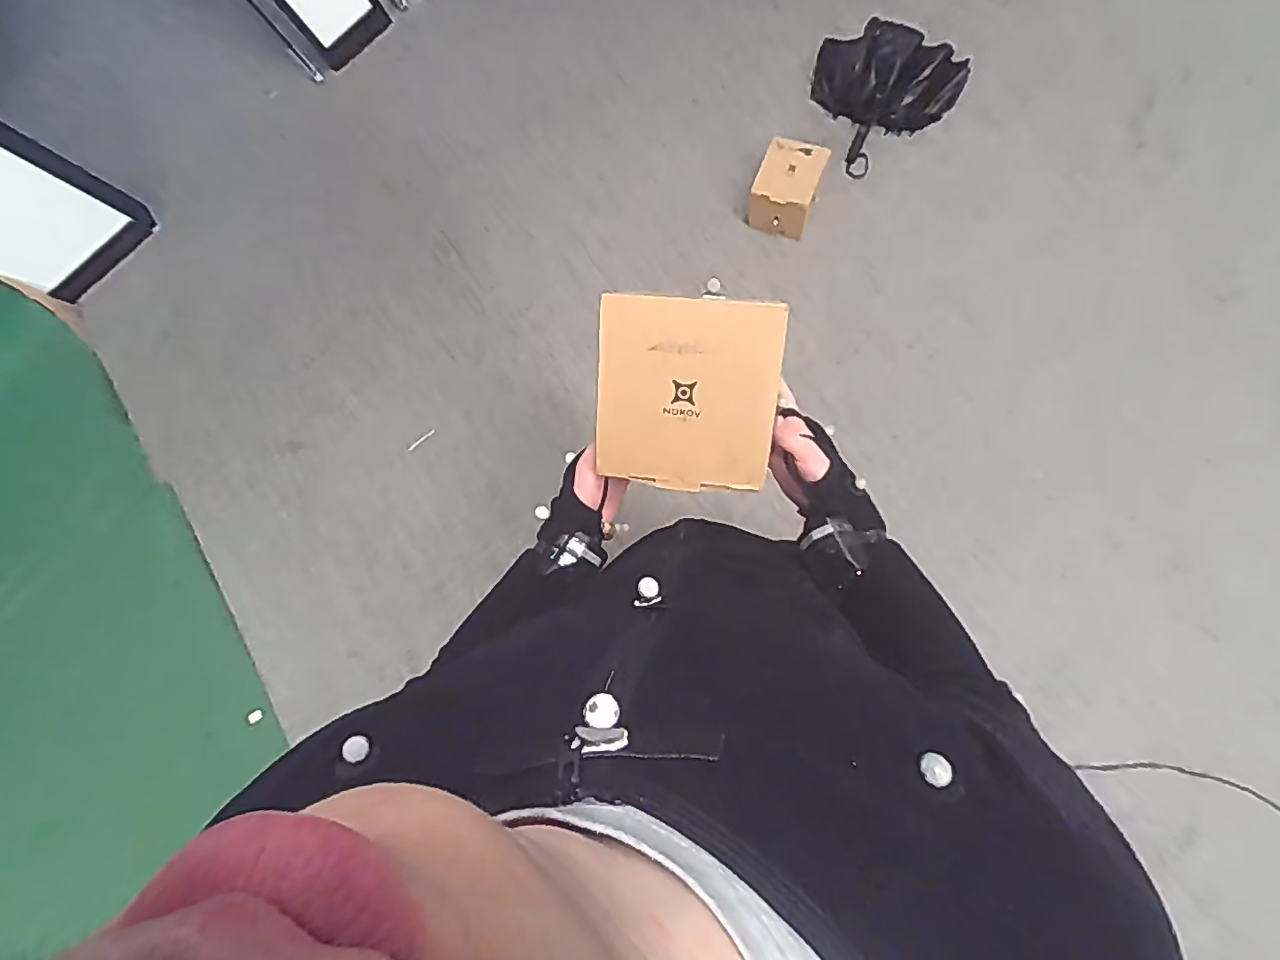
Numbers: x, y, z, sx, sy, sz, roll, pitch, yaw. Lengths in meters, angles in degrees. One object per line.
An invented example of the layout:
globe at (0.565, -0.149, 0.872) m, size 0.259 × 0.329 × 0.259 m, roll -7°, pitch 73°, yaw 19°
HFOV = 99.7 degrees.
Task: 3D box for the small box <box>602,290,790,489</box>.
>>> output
small box at (0.058, -0.106, 0.577) m, size 0.168 × 0.176 × 0.179 m, roll 5°, pitch 110°, yaw 7°
